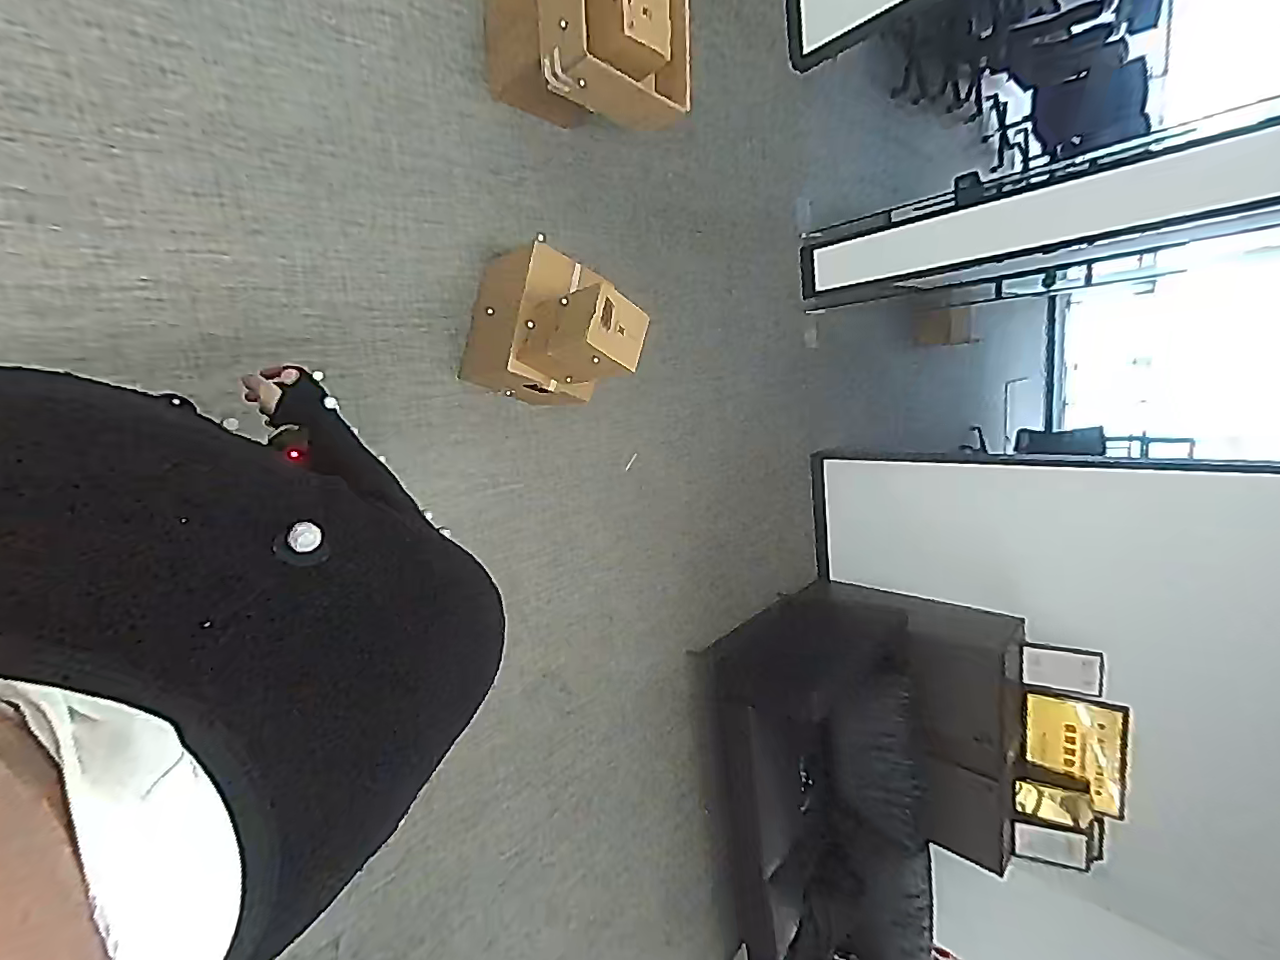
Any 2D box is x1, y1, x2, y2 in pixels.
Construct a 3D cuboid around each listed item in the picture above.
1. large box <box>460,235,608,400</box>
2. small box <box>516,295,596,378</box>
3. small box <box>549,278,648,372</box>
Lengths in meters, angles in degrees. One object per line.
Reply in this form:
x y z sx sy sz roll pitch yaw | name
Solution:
-0.345 -0.496 1.754 0.320 0.320 0.408 15 83 -44 | large box
-0.220 -0.400 1.542 0.179 0.176 0.168 24 77 -41 | small box
-0.112 -0.396 1.419 0.179 0.176 0.168 24 77 -42 | small box
